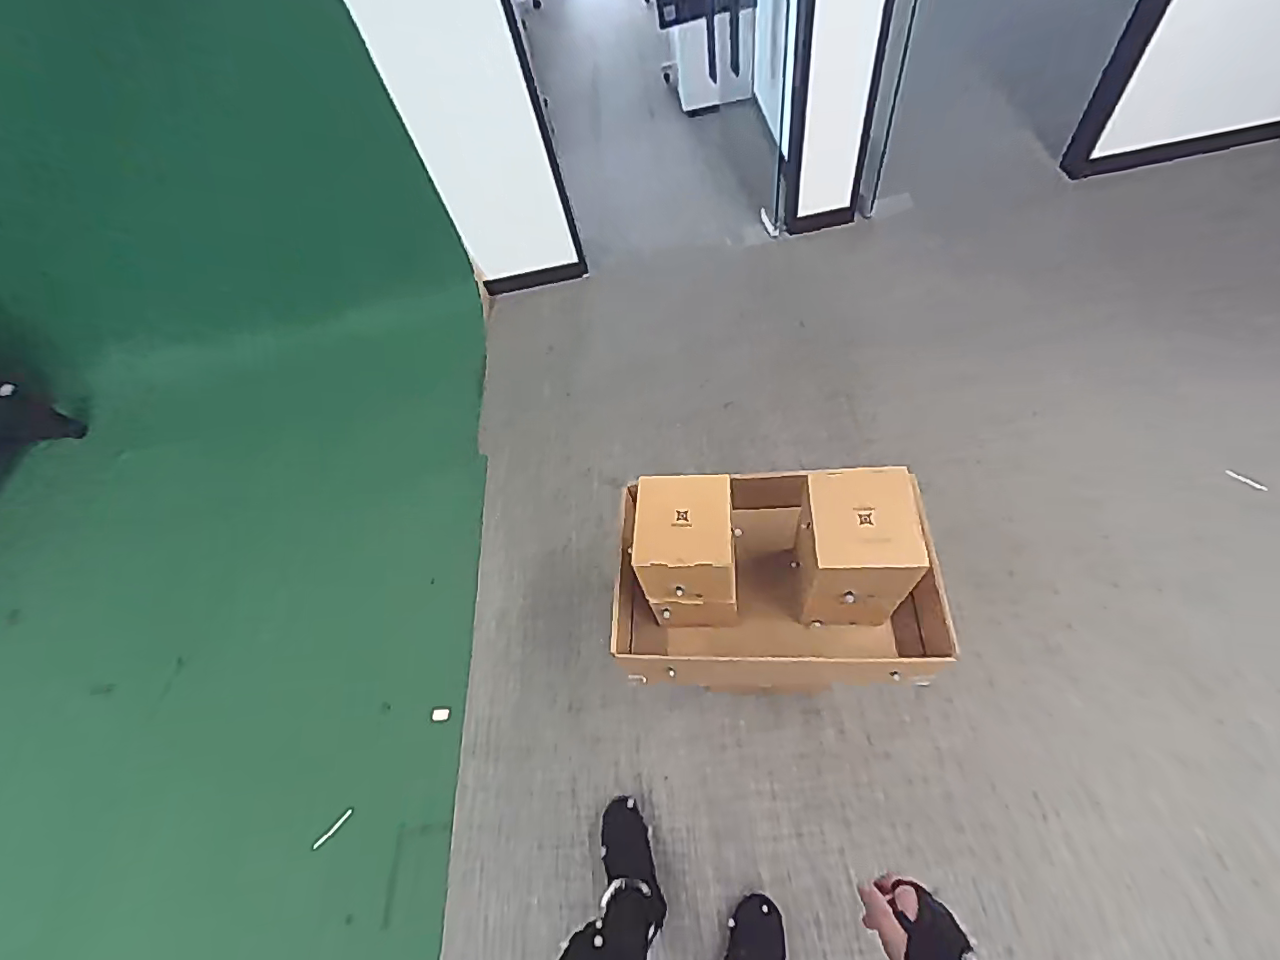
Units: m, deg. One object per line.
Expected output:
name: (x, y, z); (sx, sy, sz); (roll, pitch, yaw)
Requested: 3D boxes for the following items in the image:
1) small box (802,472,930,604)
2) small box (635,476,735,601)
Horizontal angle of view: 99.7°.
small box: (0.379, 0.102, 0.941); (0.168, 0.176, 0.179); (-2, 59, 11)
small box: (0.090, 0.108, 0.994); (0.168, 0.176, 0.179); (-1, 59, 10)
